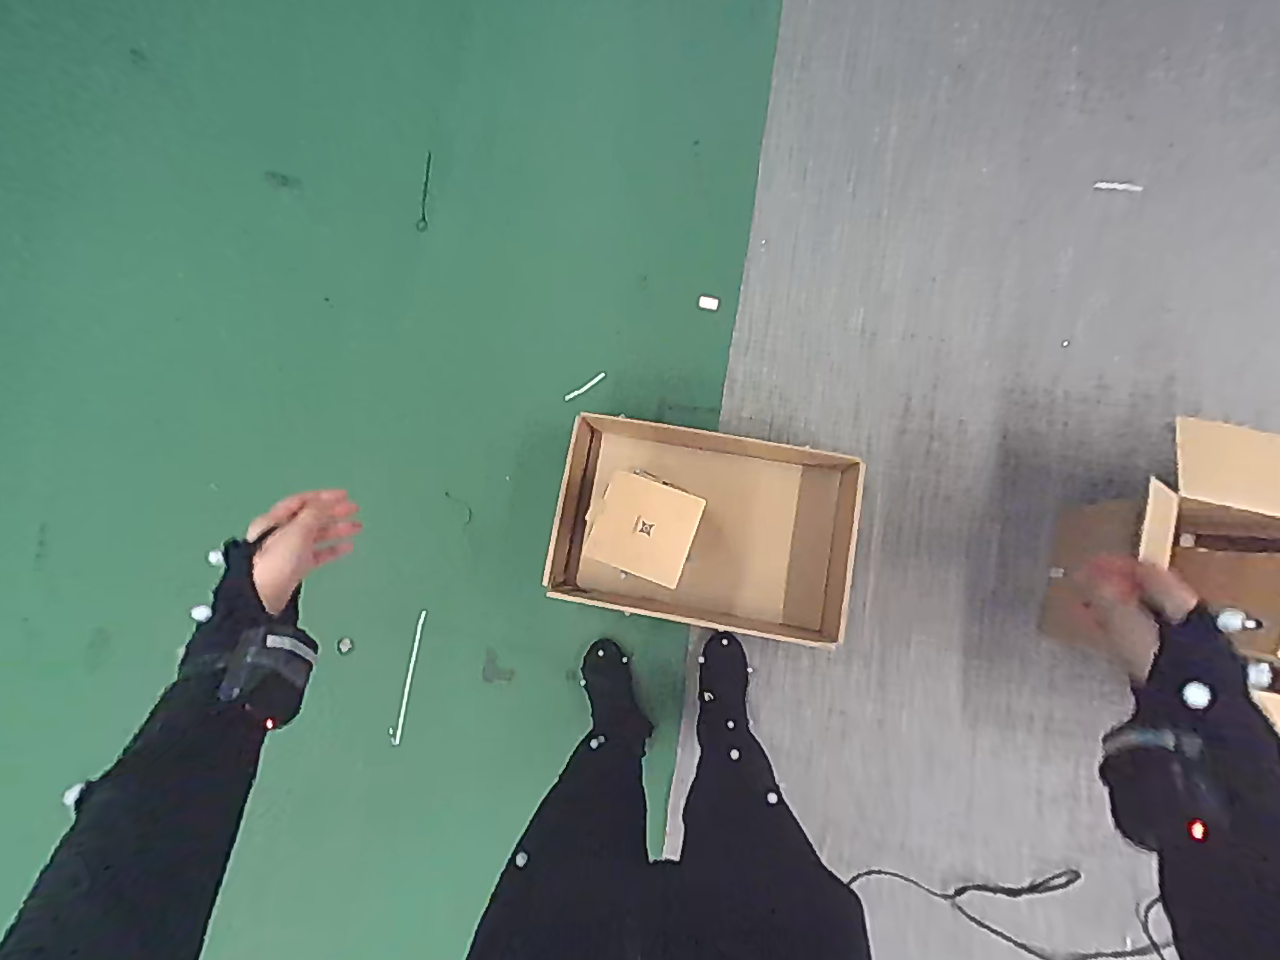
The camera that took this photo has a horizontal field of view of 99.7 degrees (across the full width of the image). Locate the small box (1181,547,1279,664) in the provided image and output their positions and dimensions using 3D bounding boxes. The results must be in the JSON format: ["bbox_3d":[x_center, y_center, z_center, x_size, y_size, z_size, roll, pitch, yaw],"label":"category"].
[{"bbox_3d":[1.123,0.227,0.953,0.168,0.176,0.179,19,85,2],"label":"small box"}]

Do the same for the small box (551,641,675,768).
[{"bbox_3d":[-0.051,0.476,1.163,0.176,0.168,0.179,46,60,-20],"label":"small box"}]

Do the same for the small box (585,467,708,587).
[{"bbox_3d":[0.015,0.090,1.015,0.179,0.176,0.168,19,83,5],"label":"small box"}]
